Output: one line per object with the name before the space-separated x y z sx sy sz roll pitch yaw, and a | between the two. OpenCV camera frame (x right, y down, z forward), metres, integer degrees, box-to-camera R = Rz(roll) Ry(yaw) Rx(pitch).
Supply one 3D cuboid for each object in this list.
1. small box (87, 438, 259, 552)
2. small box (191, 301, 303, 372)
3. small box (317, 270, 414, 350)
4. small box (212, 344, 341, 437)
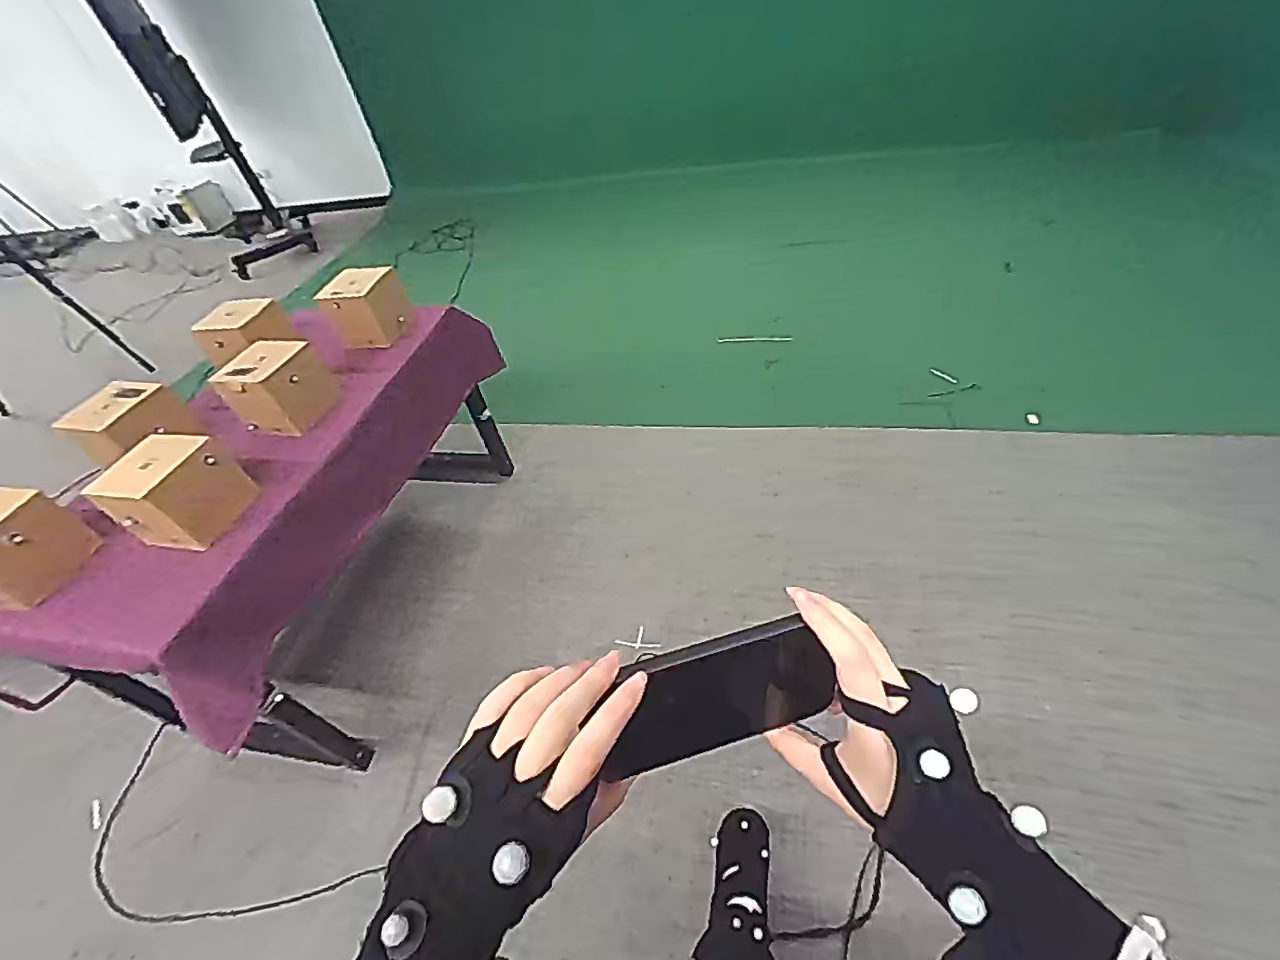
small box | -0.956 0.032 1.128 0.168 0.176 0.179 3 46 15
small box | -1.135 -0.403 1.583 0.179 0.176 0.168 1 47 12
small box | -0.808 -0.506 1.618 0.168 0.176 0.179 1 47 13
small box | -0.903 -0.225 1.365 0.168 0.176 0.179 5 47 16
